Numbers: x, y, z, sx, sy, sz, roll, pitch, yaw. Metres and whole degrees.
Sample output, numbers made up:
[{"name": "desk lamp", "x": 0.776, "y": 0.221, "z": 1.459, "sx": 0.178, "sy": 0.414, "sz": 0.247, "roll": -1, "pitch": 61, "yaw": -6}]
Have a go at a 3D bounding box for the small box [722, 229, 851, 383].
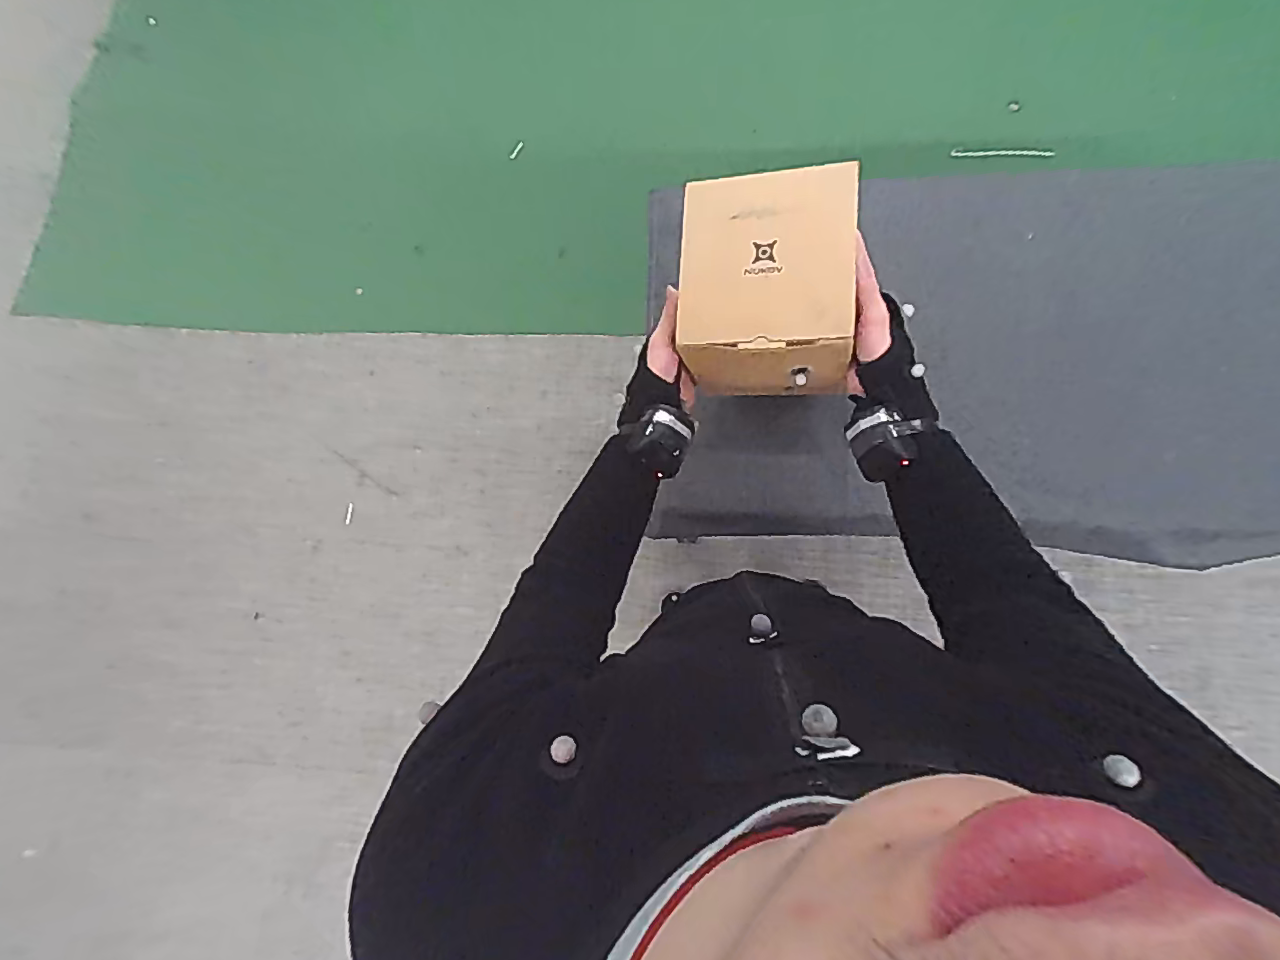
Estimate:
[{"name": "small box", "x": 0.219, "y": -0.260, "z": 0.841, "sx": 0.168, "sy": 0.176, "sz": 0.179, "roll": 3, "pitch": 79, "yaw": 4}]
